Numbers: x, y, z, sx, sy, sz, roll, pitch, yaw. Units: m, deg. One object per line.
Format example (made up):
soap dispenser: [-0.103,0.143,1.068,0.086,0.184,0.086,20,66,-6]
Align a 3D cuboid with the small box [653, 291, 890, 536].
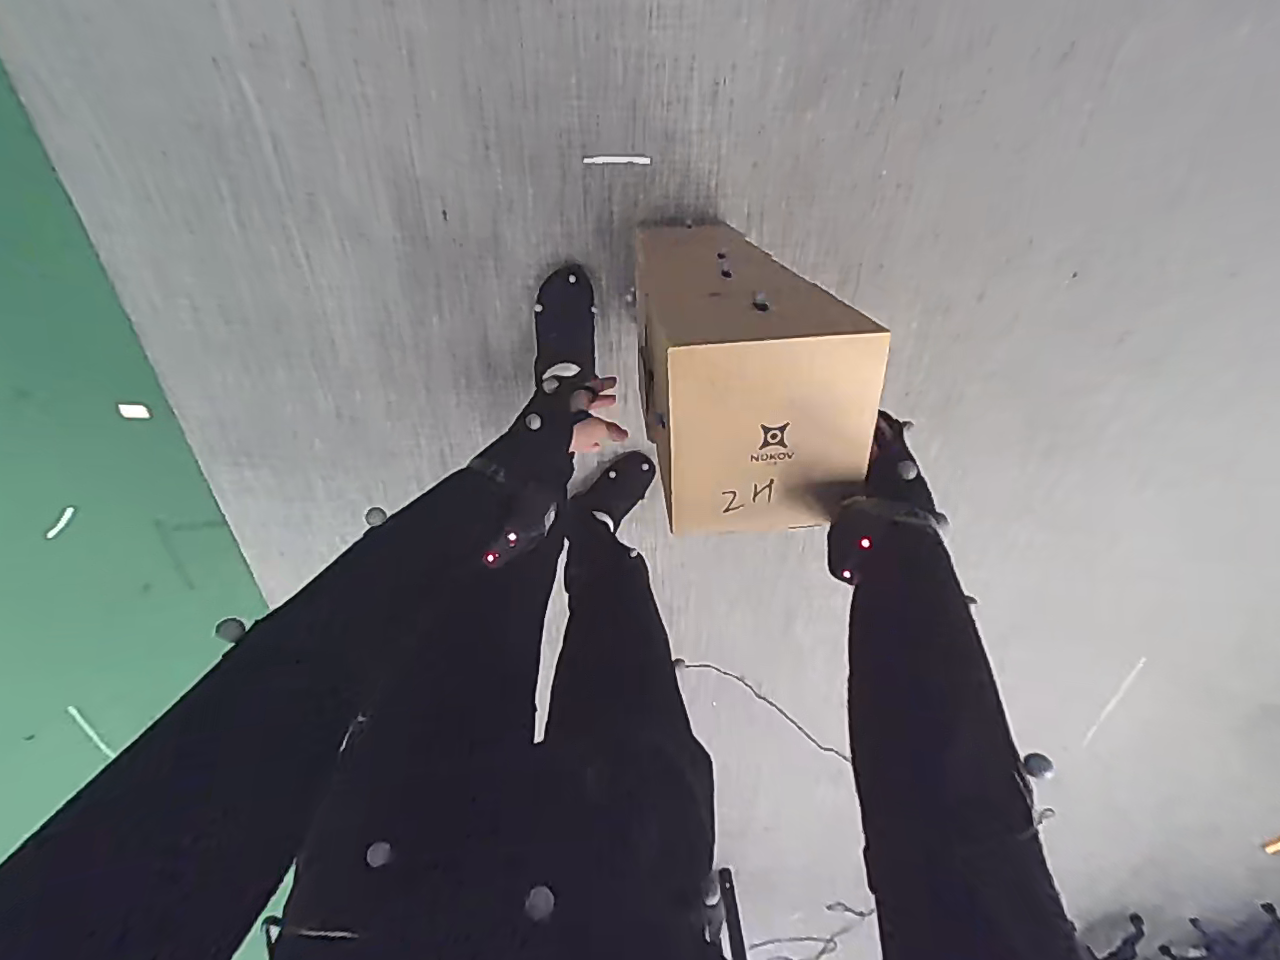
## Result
small box: [0.099,-0.070,0.498,0.168,0.176,0.179,-3,122,0]

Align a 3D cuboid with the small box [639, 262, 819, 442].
small box: [0.088,-0.156,0.638,0.179,0.176,0.168,-3,121,-3]

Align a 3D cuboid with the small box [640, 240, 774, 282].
small box: [0.087,-0.237,0.781,0.168,0.176,0.179,-4,122,-2]
